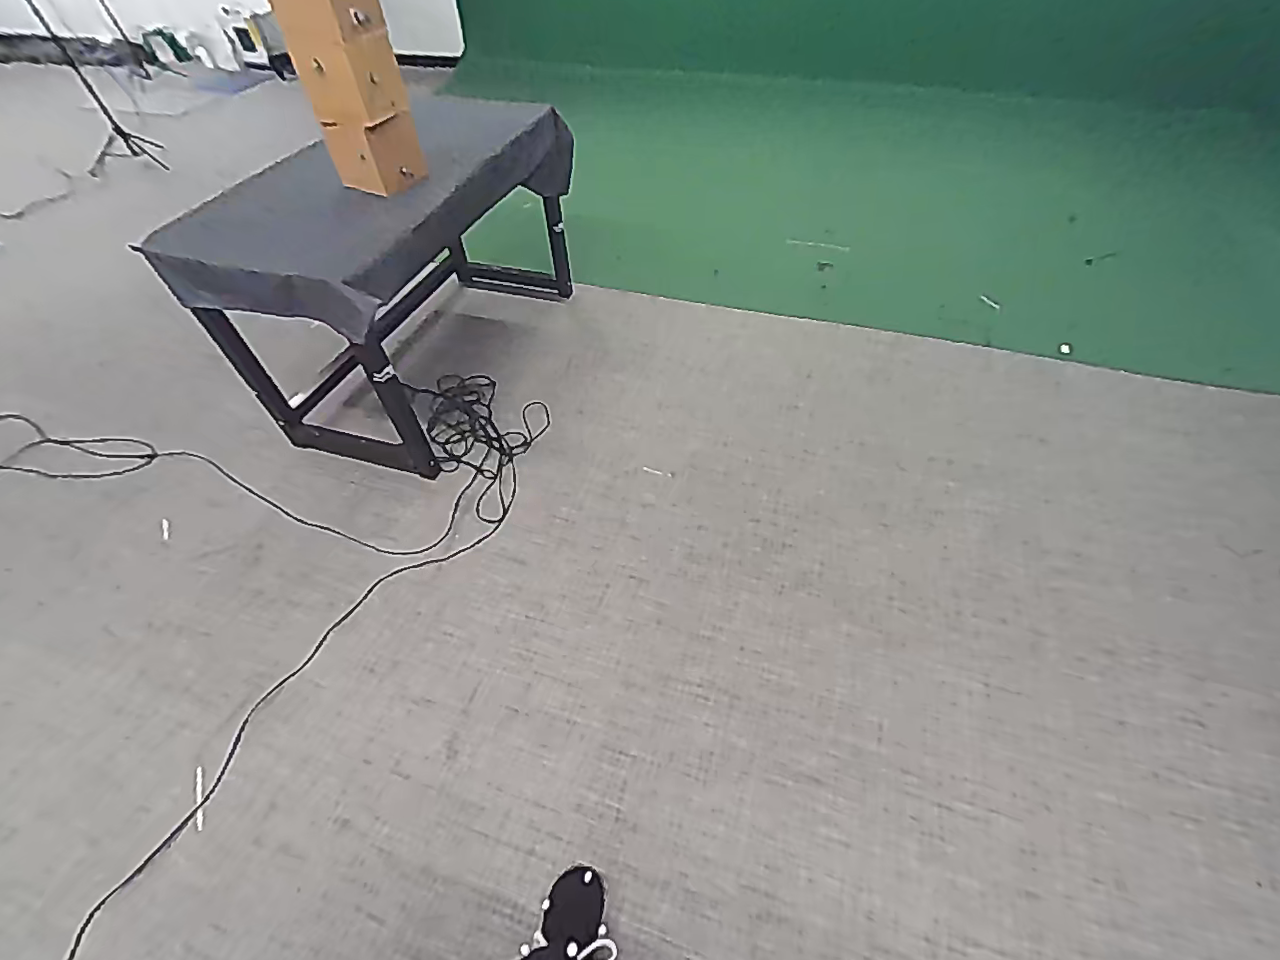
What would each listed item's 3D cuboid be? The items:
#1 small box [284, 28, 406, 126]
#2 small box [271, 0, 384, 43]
[{"bbox_3d":[-0.723,-1.009,1.351,0.179,0.176,0.168,15,53,14],"label":"small box"},{"bbox_3d":[-0.728,-1.118,1.230,0.179,0.176,0.168,14,54,12],"label":"small box"}]
